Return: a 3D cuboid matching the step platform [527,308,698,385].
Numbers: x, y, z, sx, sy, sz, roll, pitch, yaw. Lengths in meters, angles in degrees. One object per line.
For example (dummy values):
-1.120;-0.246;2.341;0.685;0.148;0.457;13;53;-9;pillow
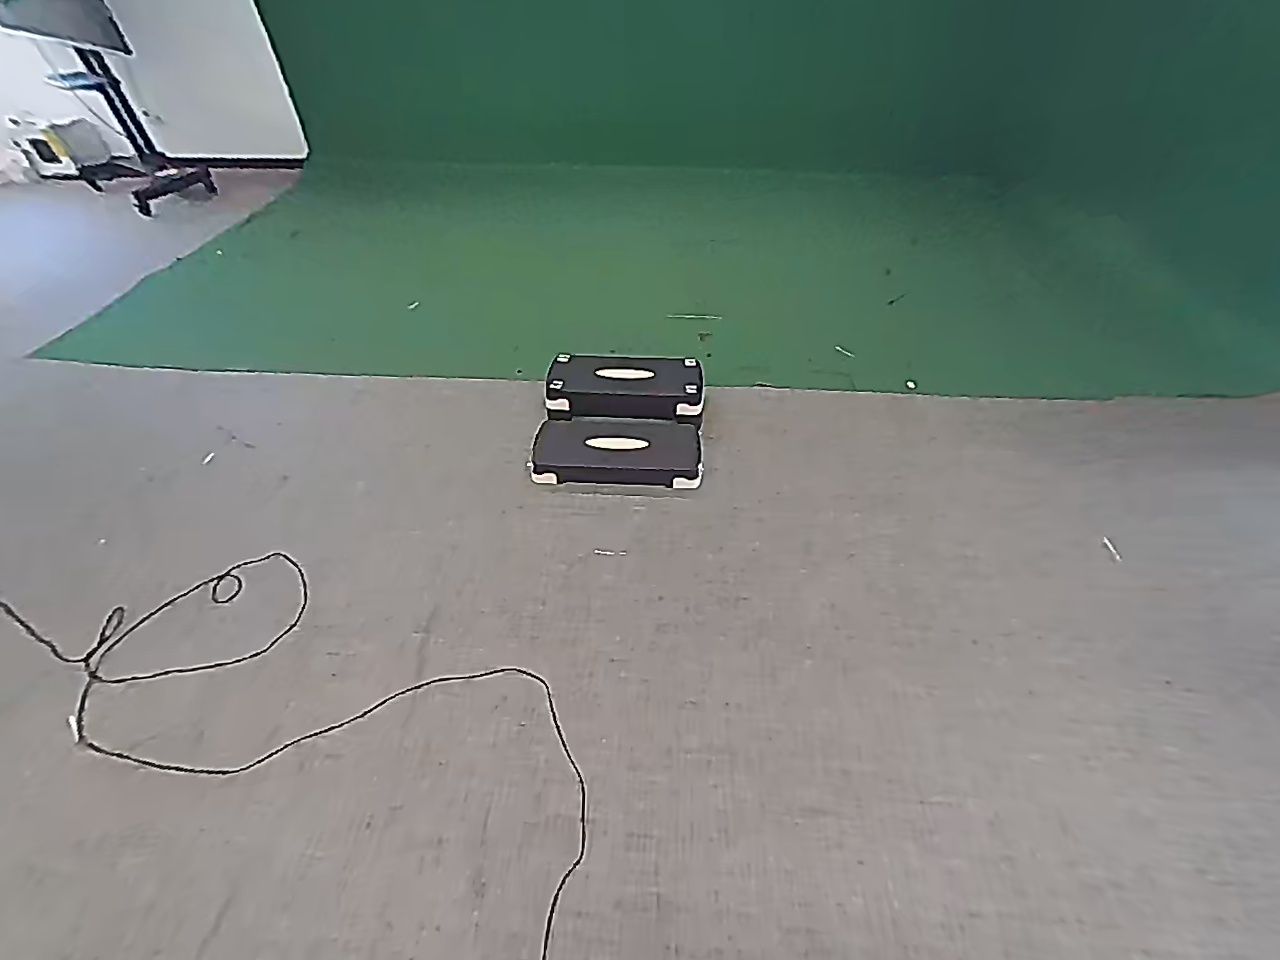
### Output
-0.108;-0.552;2.238;0.684;0.204;0.286;2;46;3;step platform
